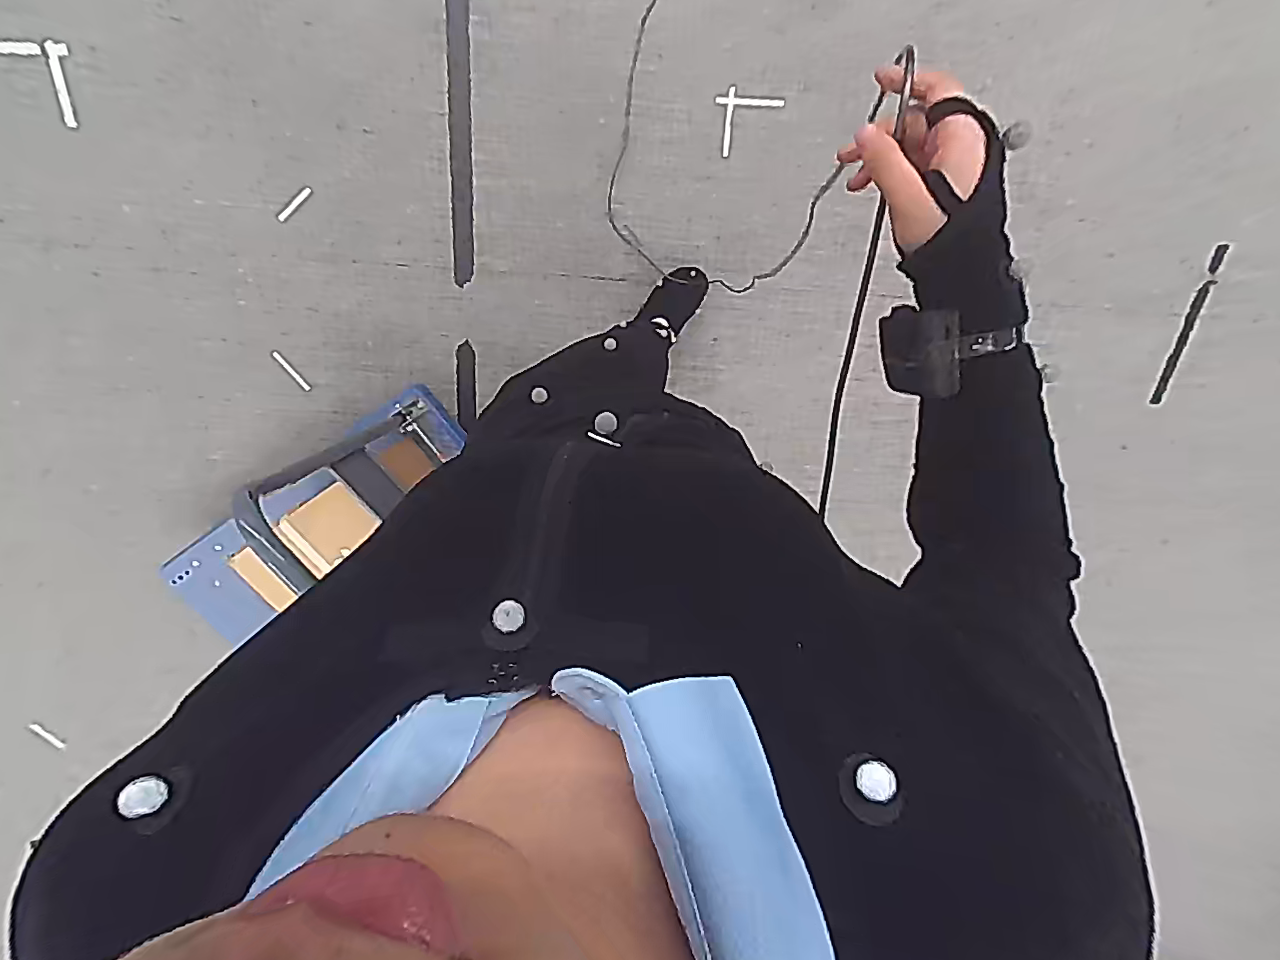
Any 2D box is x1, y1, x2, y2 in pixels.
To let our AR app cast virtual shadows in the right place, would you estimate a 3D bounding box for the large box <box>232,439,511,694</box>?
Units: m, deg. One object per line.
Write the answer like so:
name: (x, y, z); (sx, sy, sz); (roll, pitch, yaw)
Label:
large box: (-0.558, 0.180, 1.216); (0.320, 0.320, 0.408); (-33, 106, 9)
